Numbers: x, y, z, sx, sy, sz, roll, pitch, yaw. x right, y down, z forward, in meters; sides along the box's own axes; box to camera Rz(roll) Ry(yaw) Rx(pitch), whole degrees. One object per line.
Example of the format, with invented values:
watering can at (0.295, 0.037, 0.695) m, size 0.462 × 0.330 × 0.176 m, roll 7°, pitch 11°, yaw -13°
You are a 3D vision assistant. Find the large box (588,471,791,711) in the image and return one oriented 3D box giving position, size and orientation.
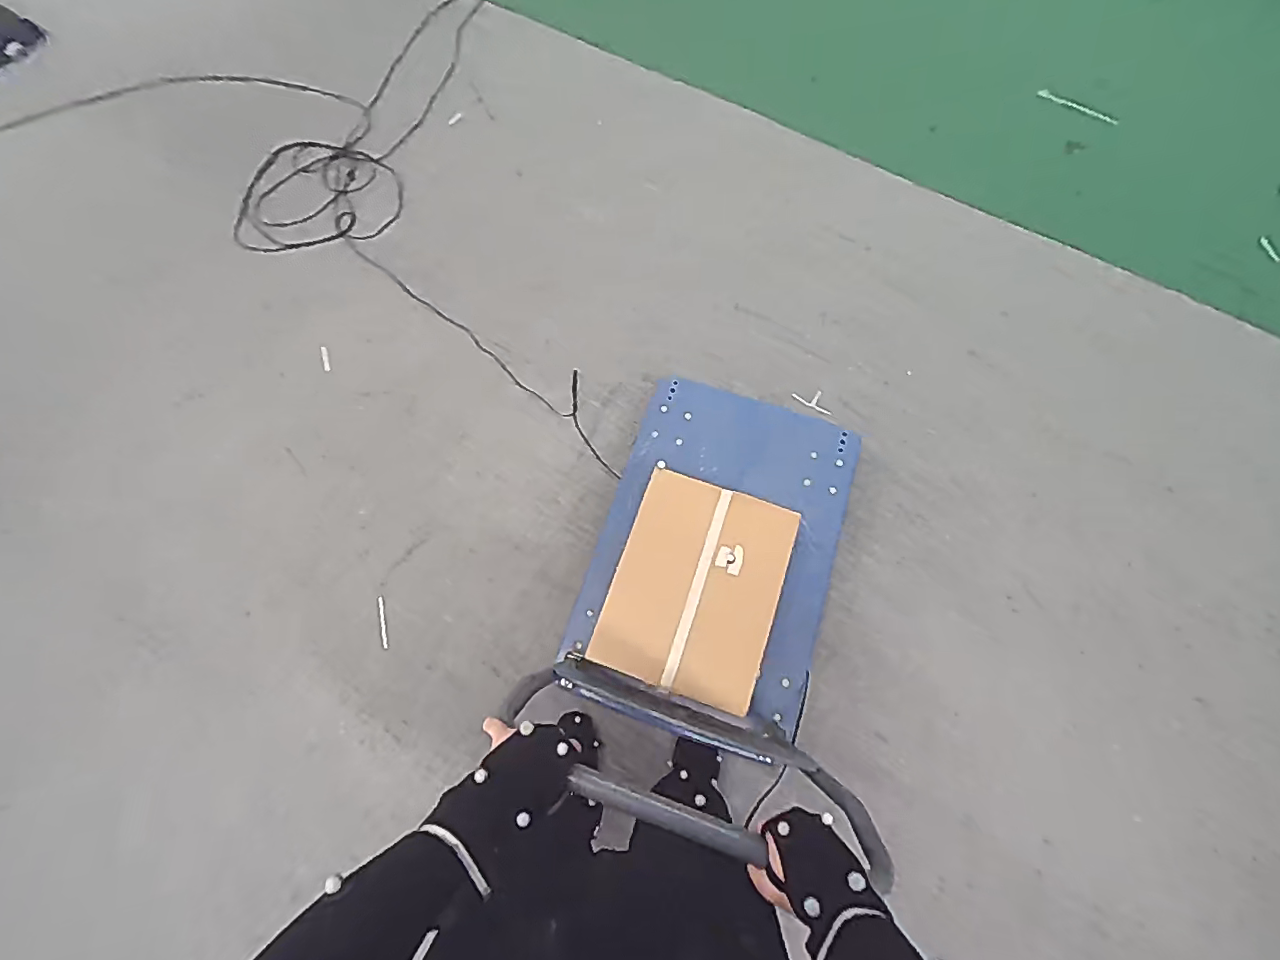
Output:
large box at (0.107, 0.253, 1.204) m, size 0.320 × 0.320 × 0.408 m, roll 19°, pitch 72°, yaw 6°
